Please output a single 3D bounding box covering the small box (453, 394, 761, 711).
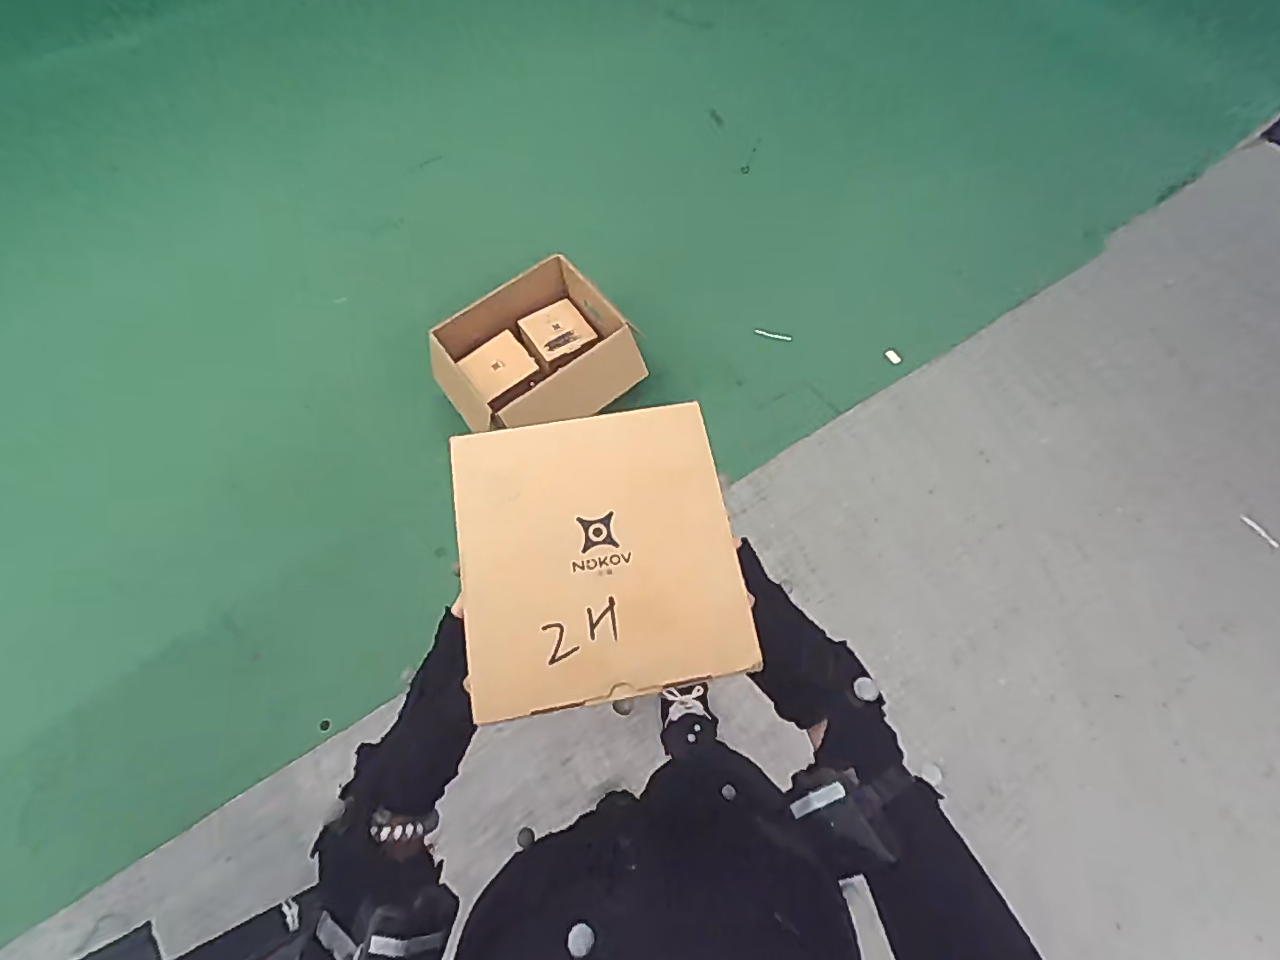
[{"bbox_3d":[-0.029,0.061,0.403,0.168,0.176,0.179,-10,72,-5],"label":"small box"}]
